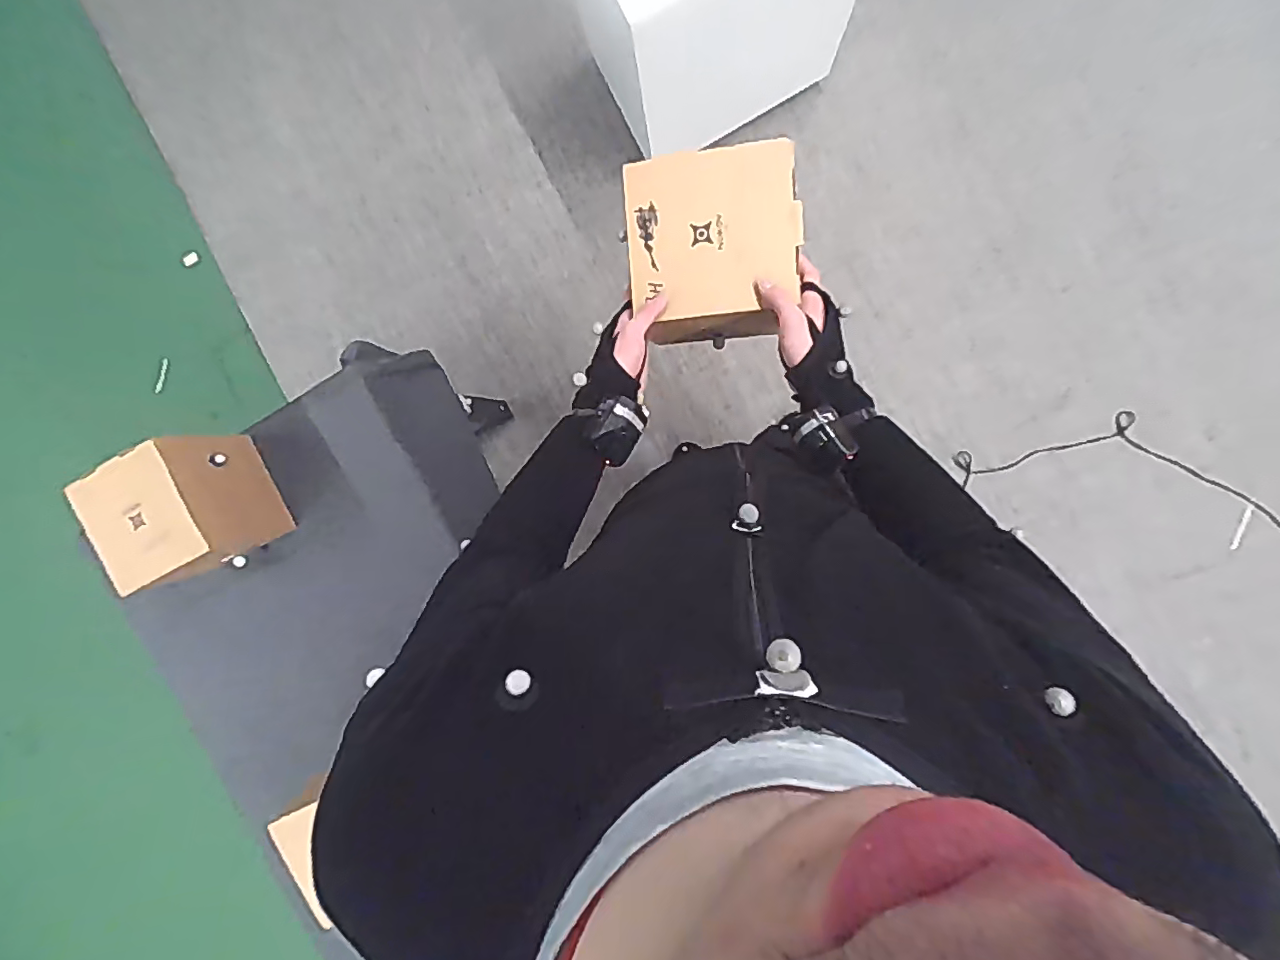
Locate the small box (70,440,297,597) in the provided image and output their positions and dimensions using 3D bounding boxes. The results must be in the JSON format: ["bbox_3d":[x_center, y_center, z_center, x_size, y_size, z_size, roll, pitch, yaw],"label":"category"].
[{"bbox_3d":[-0.687,0.049,0.834,0.168,0.176,0.179,-26,93,9],"label":"small box"}]

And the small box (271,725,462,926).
[{"bbox_3d":[-0.410,0.525,0.844,0.168,0.176,0.179,-28,90,8],"label":"small box"}]

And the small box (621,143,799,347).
[{"bbox_3d":[0.081,-0.256,0.631,0.179,0.176,0.168,-3,94,9],"label":"small box"}]
